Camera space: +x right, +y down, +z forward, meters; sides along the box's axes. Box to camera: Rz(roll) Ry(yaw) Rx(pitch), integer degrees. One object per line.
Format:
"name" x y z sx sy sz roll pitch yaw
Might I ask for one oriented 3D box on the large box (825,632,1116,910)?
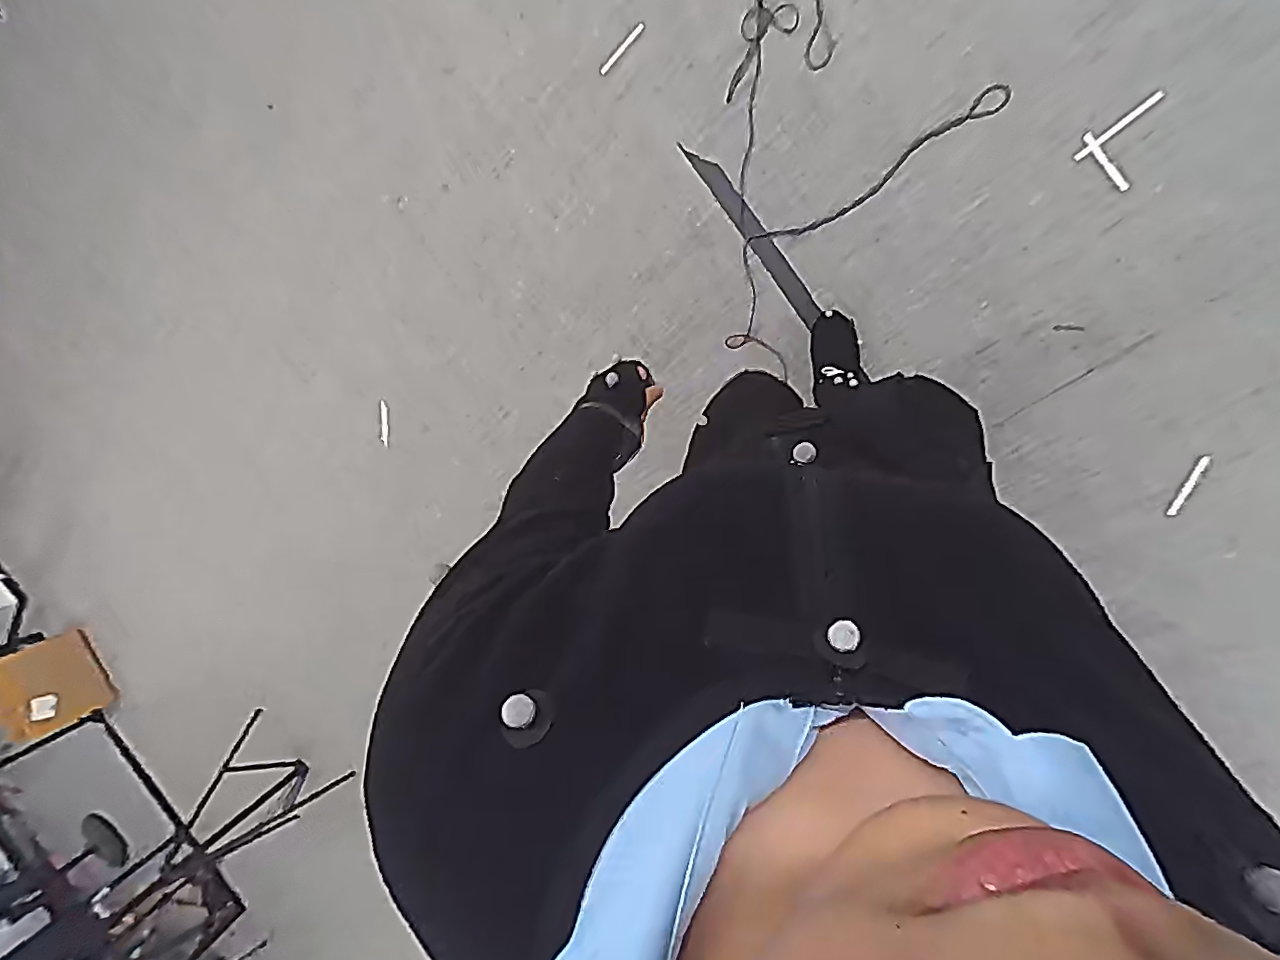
"large box" 0.667 0.615 1.177 0.320 0.320 0.408 46 116 5
